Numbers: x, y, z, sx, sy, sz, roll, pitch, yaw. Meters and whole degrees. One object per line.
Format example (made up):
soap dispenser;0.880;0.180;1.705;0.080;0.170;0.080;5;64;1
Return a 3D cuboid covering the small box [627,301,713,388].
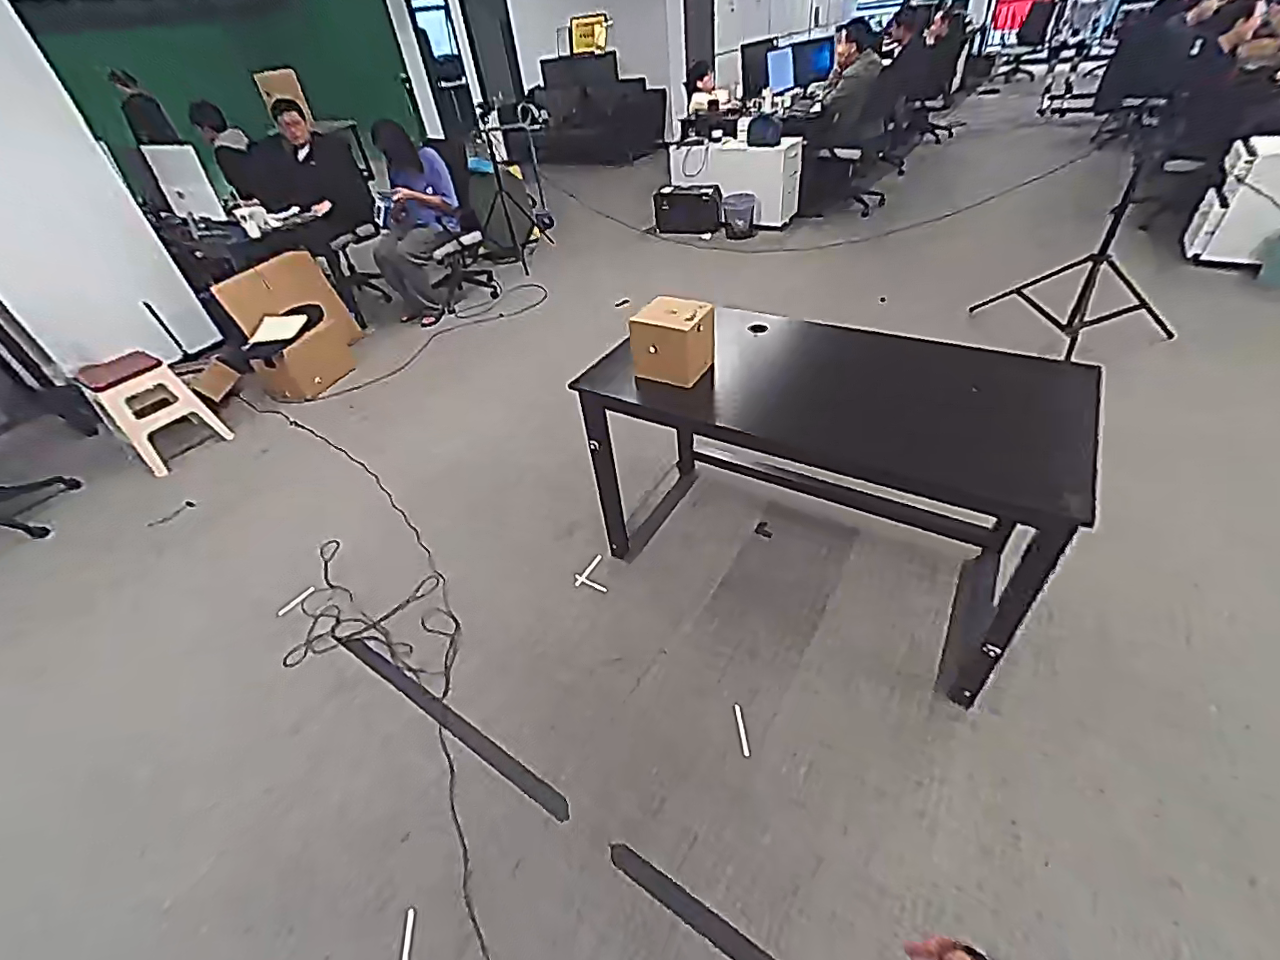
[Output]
small box;0.087;-0.369;1.473;0.179;0.176;0.168;17;46;26
